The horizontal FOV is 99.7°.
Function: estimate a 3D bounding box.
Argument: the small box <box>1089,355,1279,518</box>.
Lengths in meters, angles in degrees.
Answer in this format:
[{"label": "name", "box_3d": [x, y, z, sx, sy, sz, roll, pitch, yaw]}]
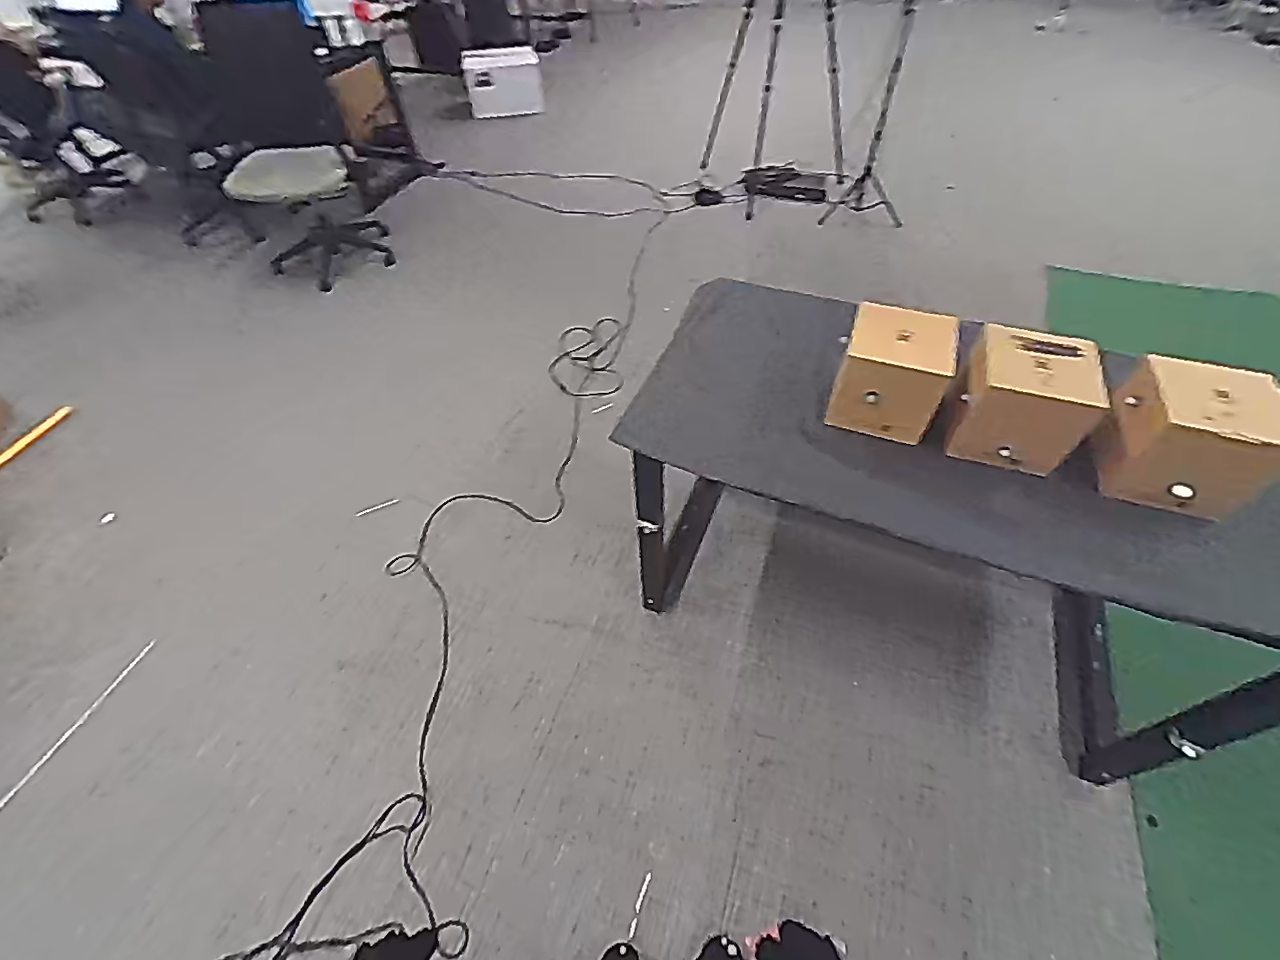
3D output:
[{"label": "small box", "box_3d": [0.869, -0.070, 0.872, 0.168, 0.176, 0.179, 16, 52, 15]}]
